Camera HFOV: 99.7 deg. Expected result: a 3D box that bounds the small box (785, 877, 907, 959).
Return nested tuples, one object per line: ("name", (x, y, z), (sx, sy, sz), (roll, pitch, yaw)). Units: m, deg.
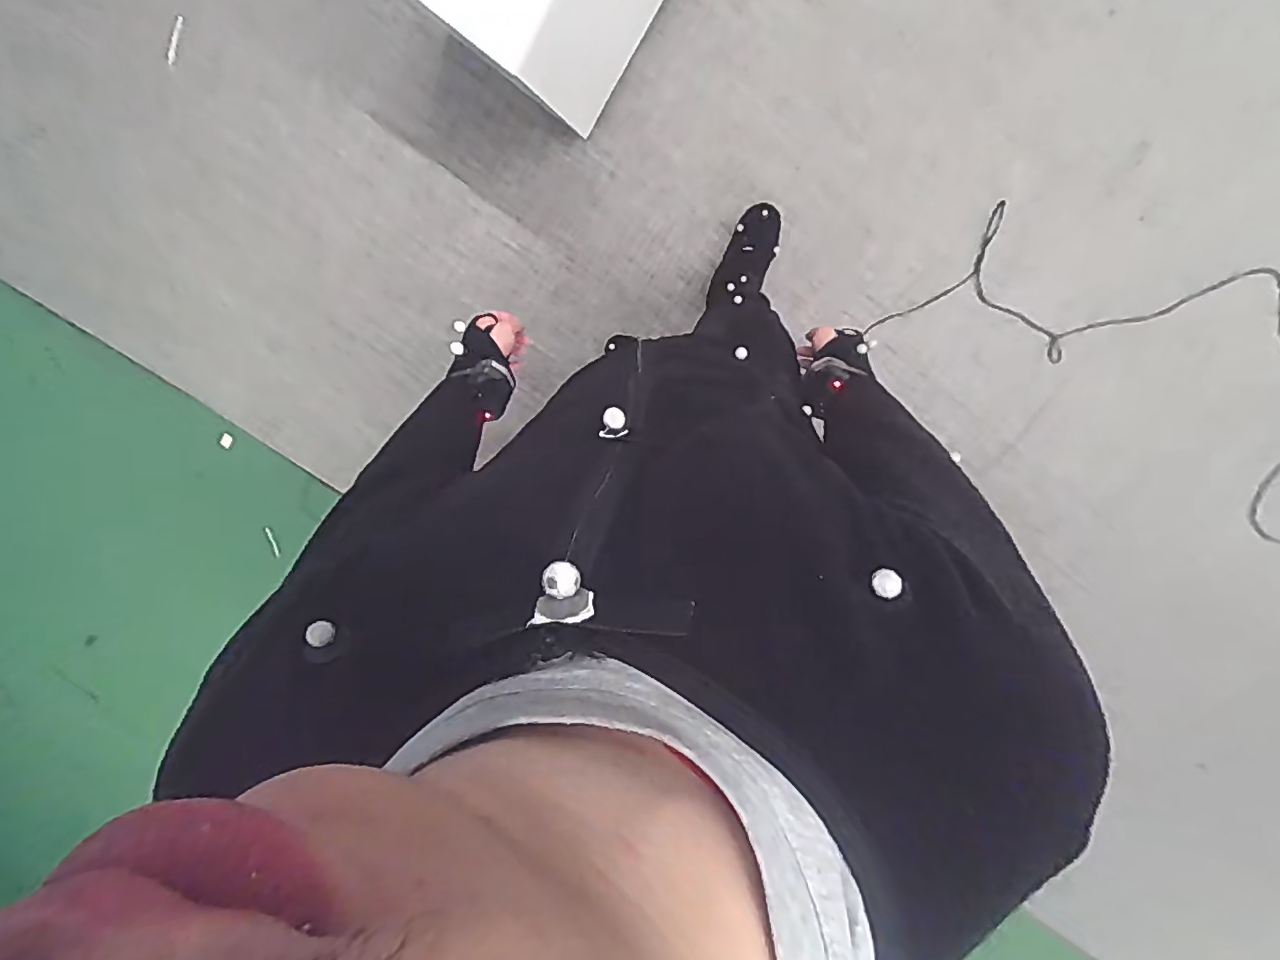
("small box", (0.428, 0.975, 1.132), (0.179, 0.176, 0.168), (32, 114, -11))
